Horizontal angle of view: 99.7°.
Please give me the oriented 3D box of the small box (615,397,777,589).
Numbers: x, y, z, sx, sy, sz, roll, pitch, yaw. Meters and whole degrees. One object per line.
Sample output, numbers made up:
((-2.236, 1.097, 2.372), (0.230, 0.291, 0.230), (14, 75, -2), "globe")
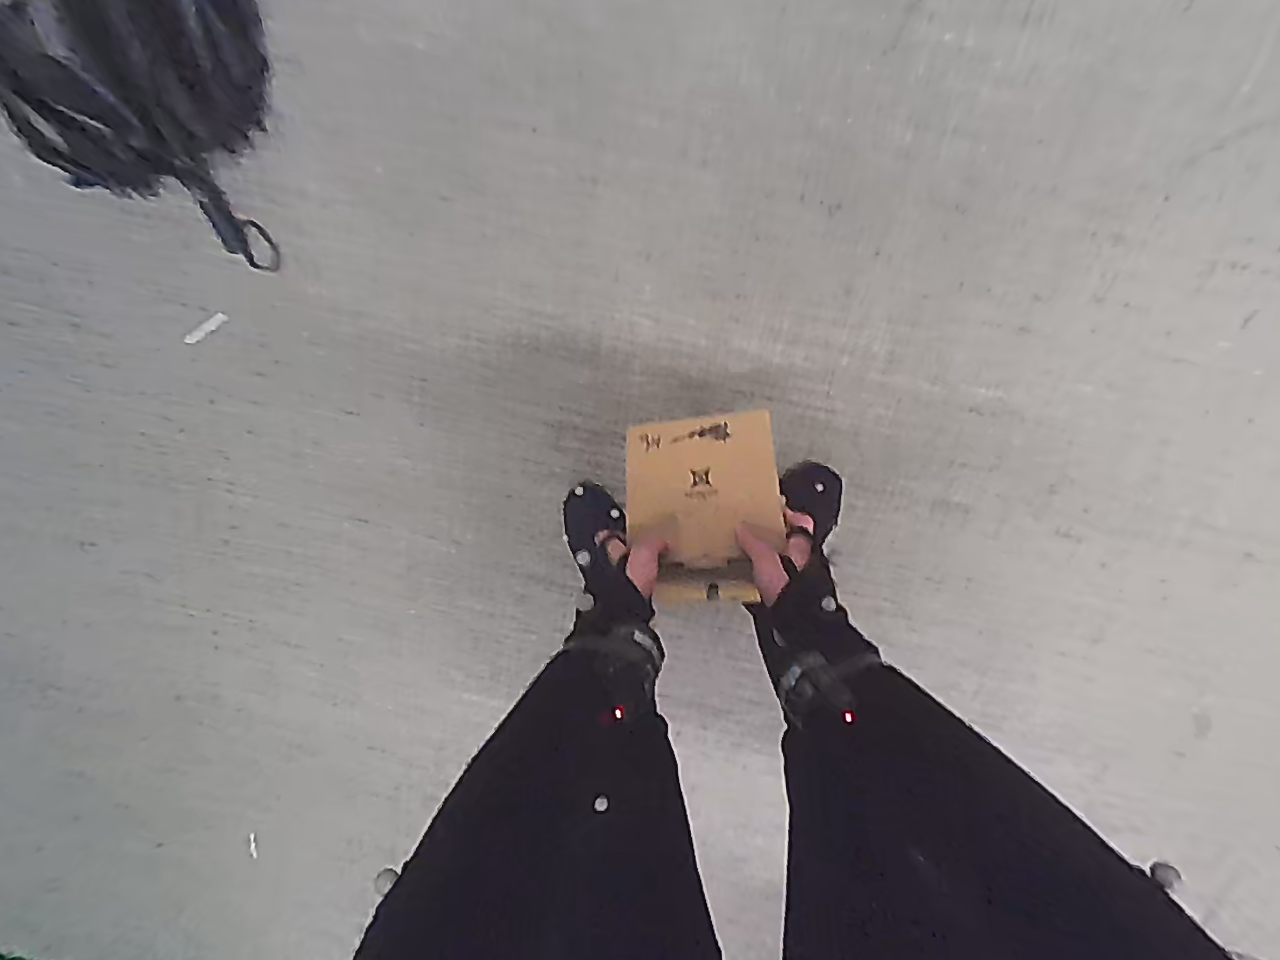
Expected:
((0.071, 0.027, 0.640), (0.168, 0.179, 0.176), (-5, 153, 10), "small box")
